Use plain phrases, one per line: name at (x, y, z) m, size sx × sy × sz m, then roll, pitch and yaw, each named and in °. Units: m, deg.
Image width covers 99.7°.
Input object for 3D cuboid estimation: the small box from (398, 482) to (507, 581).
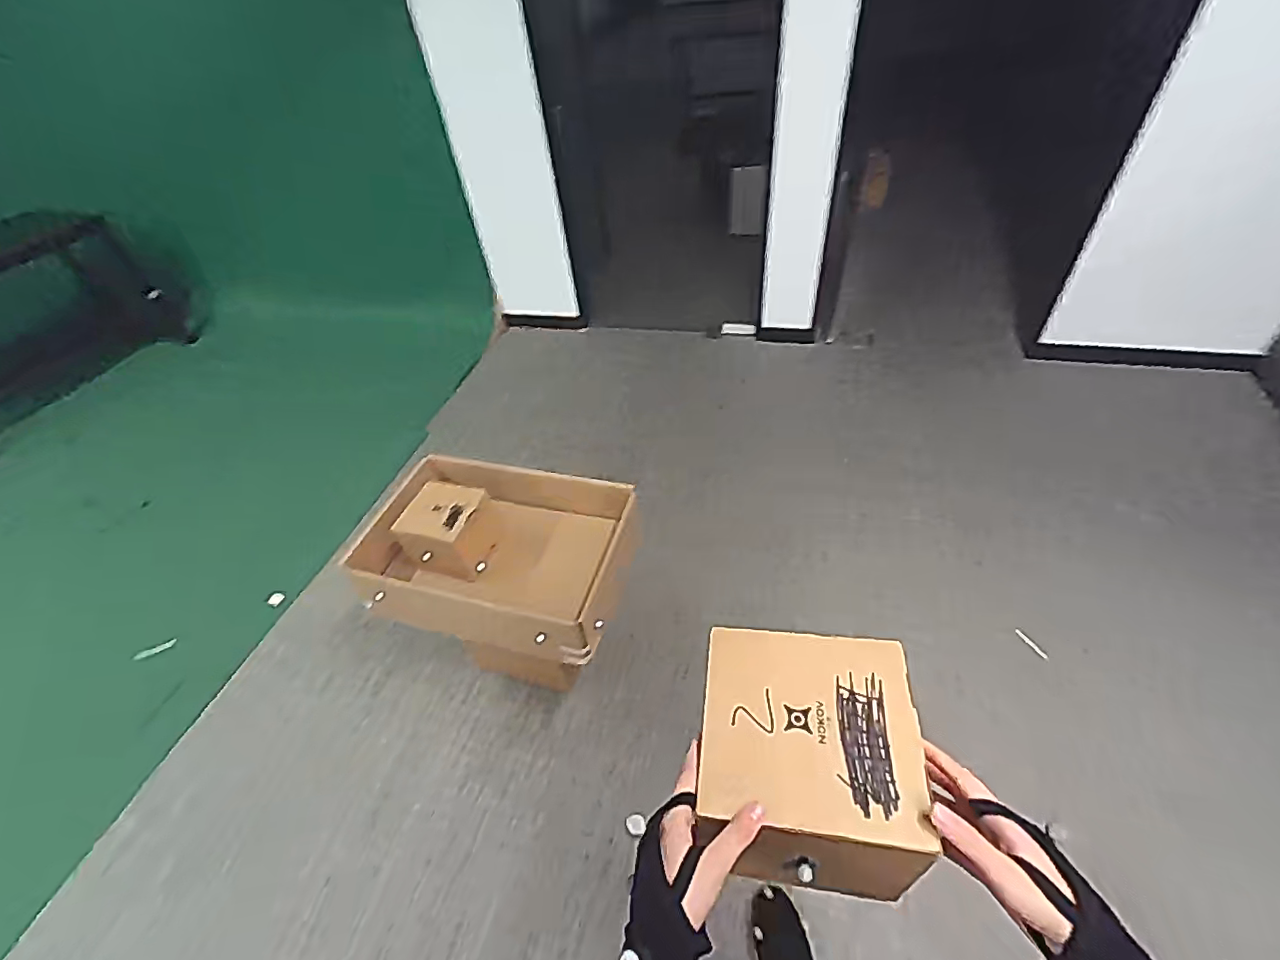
small box at (-0.460, 0.132, 1.359) m, size 0.179 × 0.176 × 0.168 m, roll 10°, pitch 48°, yaw 17°
